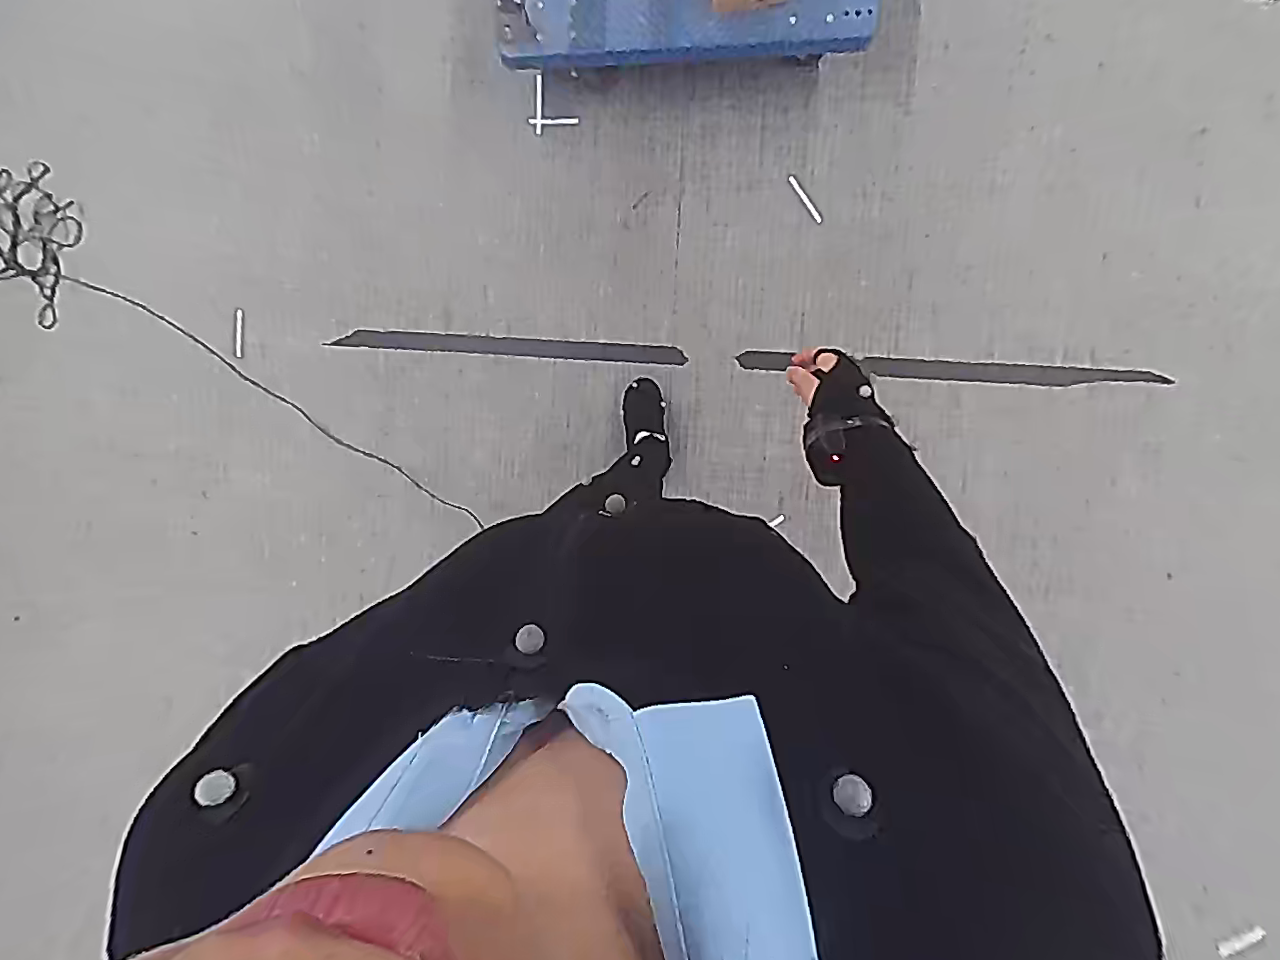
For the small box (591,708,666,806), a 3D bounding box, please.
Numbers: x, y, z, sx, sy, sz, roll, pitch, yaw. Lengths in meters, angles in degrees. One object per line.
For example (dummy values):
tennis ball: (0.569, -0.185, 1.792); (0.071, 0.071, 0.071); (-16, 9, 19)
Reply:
small box: (-0.026, 0.734, 1.434); (0.168, 0.176, 0.179); (-8, 92, 5)
